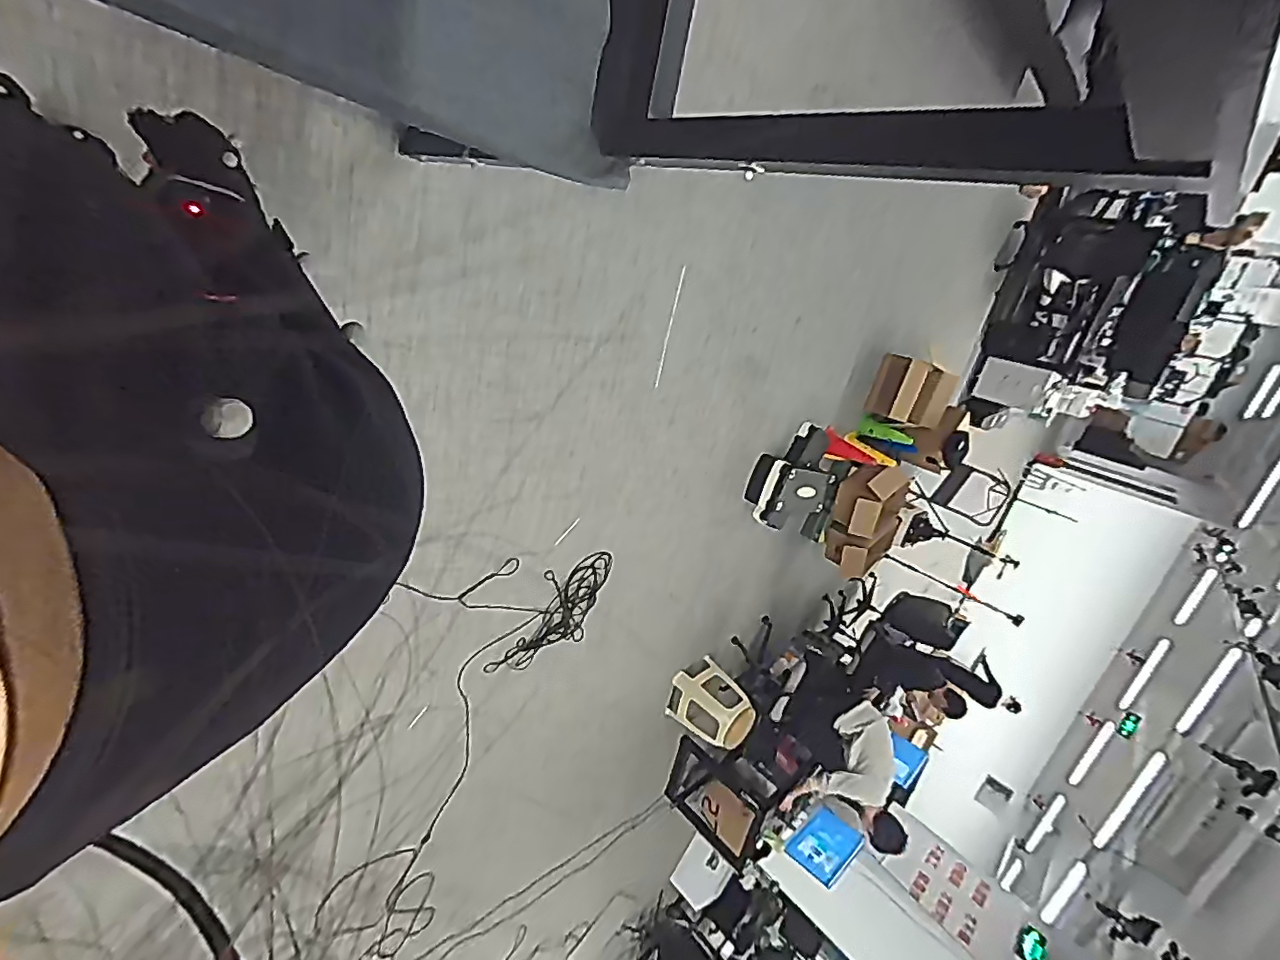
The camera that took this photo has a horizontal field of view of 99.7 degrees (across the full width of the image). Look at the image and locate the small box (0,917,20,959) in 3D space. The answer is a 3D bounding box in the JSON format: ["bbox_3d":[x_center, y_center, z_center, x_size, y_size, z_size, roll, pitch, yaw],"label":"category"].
[{"bbox_3d":[-1.588,1.174,1.252,0.168,0.176,0.179,-15,124,-41],"label":"small box"}]
